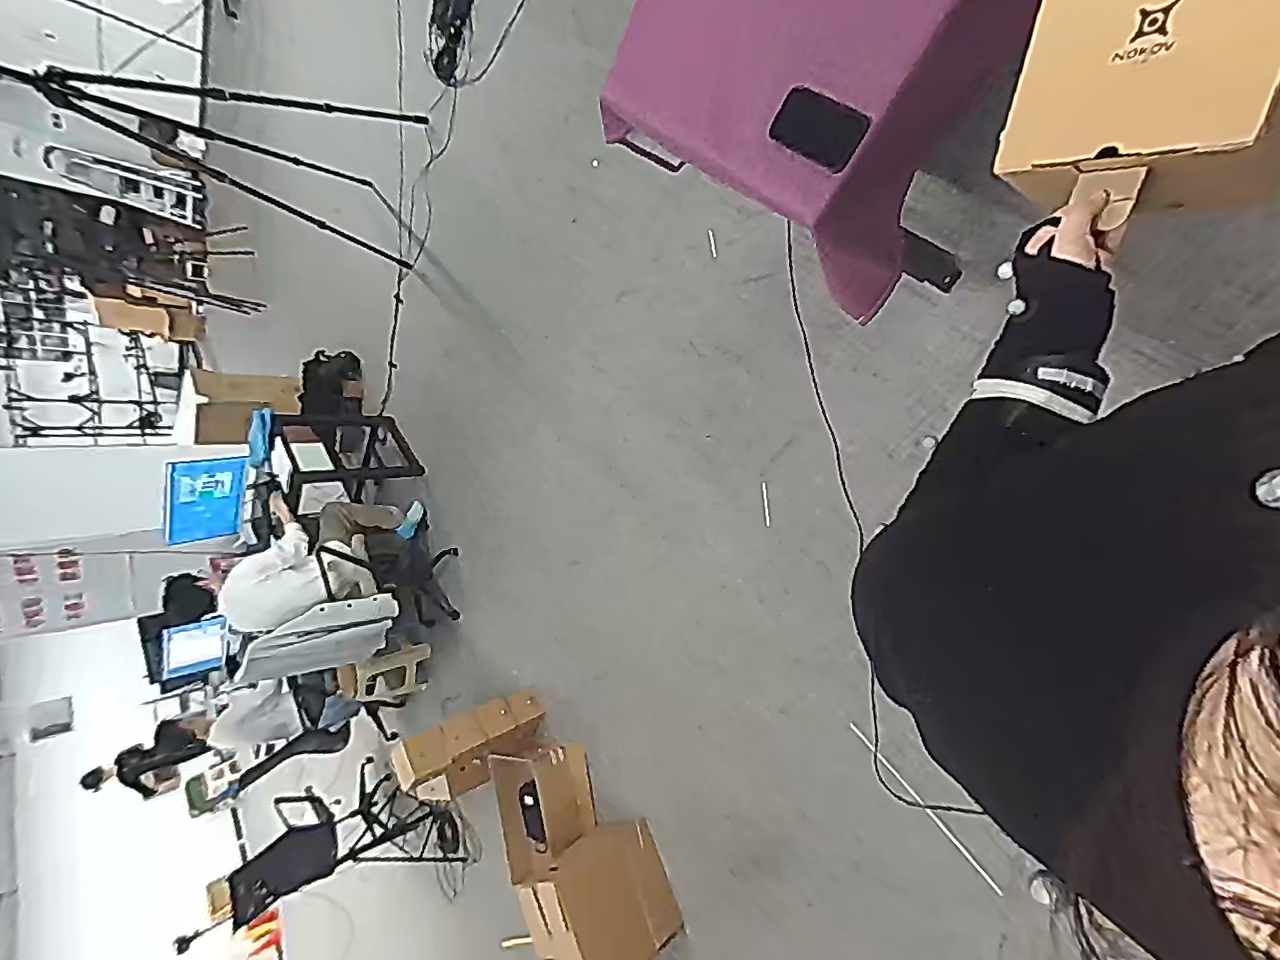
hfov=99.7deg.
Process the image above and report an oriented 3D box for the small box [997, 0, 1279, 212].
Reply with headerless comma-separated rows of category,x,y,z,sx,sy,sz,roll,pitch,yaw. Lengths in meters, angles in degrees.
small box,0.448,-0.344,0.459,0.168,0.176,0.179,27,115,47
